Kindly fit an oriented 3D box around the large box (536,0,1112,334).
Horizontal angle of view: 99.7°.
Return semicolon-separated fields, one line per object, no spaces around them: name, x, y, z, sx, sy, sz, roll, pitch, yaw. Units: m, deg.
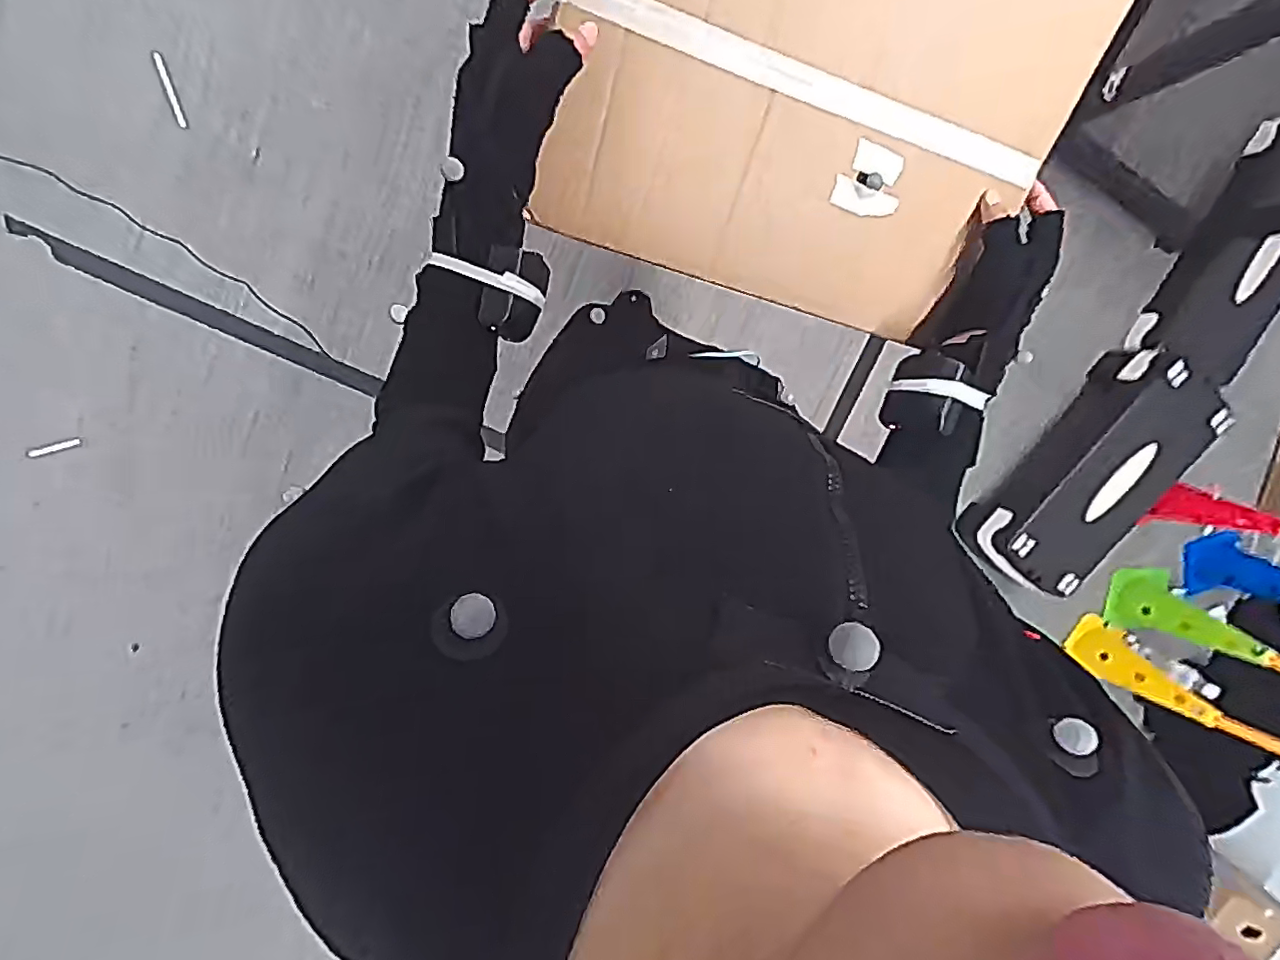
large box;0.128;-0.387;0.560;0.408;0.320;0.320;13;119;-12
